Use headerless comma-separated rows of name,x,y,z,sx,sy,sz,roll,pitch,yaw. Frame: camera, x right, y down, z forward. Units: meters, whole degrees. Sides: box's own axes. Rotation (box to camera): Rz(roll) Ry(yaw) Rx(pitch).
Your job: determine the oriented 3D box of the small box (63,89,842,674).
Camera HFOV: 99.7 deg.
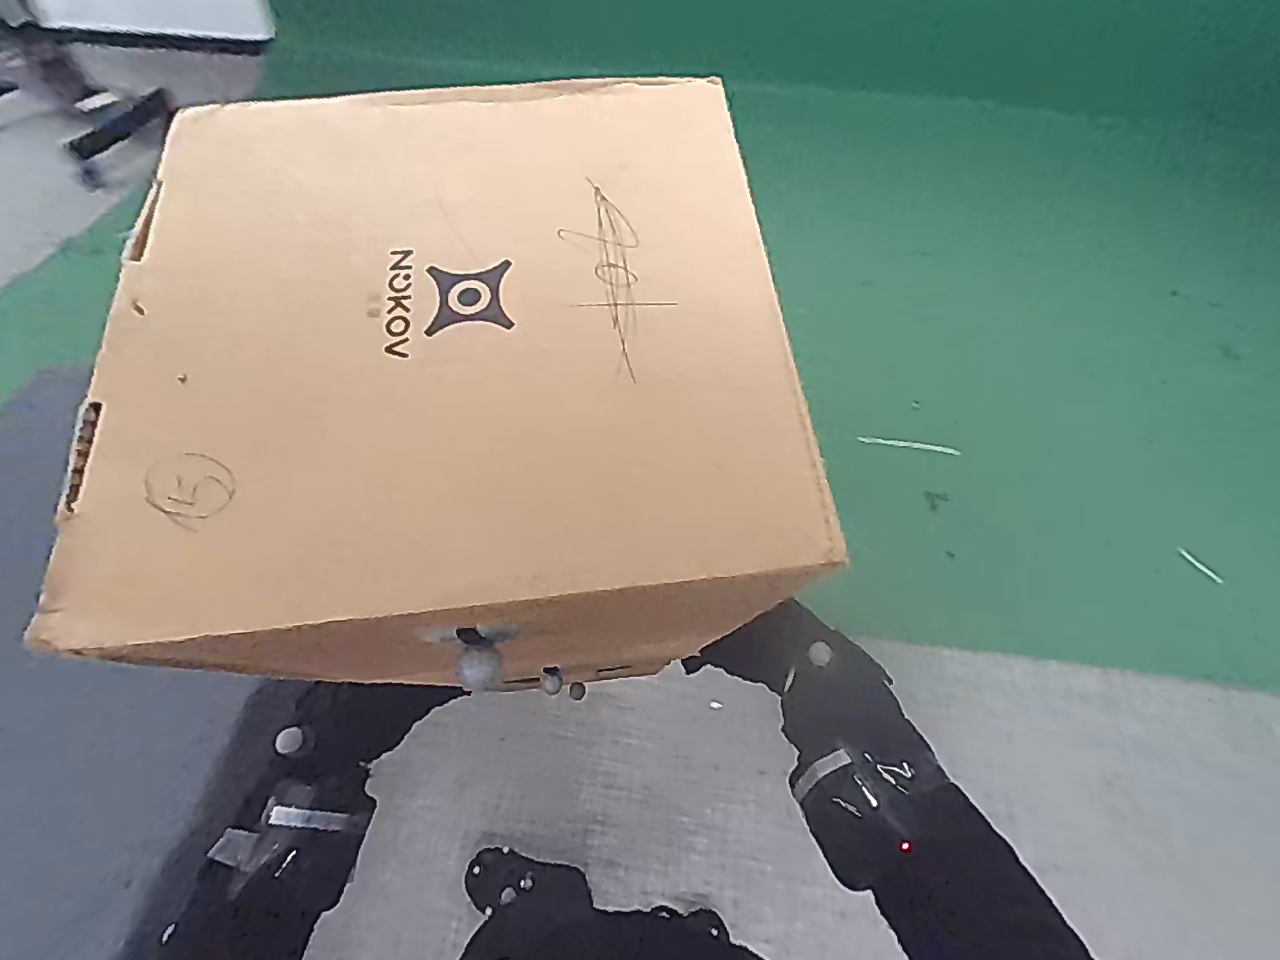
small box,-0.048,-0.017,0.223,0.179,0.176,0.168,-6,69,-4
